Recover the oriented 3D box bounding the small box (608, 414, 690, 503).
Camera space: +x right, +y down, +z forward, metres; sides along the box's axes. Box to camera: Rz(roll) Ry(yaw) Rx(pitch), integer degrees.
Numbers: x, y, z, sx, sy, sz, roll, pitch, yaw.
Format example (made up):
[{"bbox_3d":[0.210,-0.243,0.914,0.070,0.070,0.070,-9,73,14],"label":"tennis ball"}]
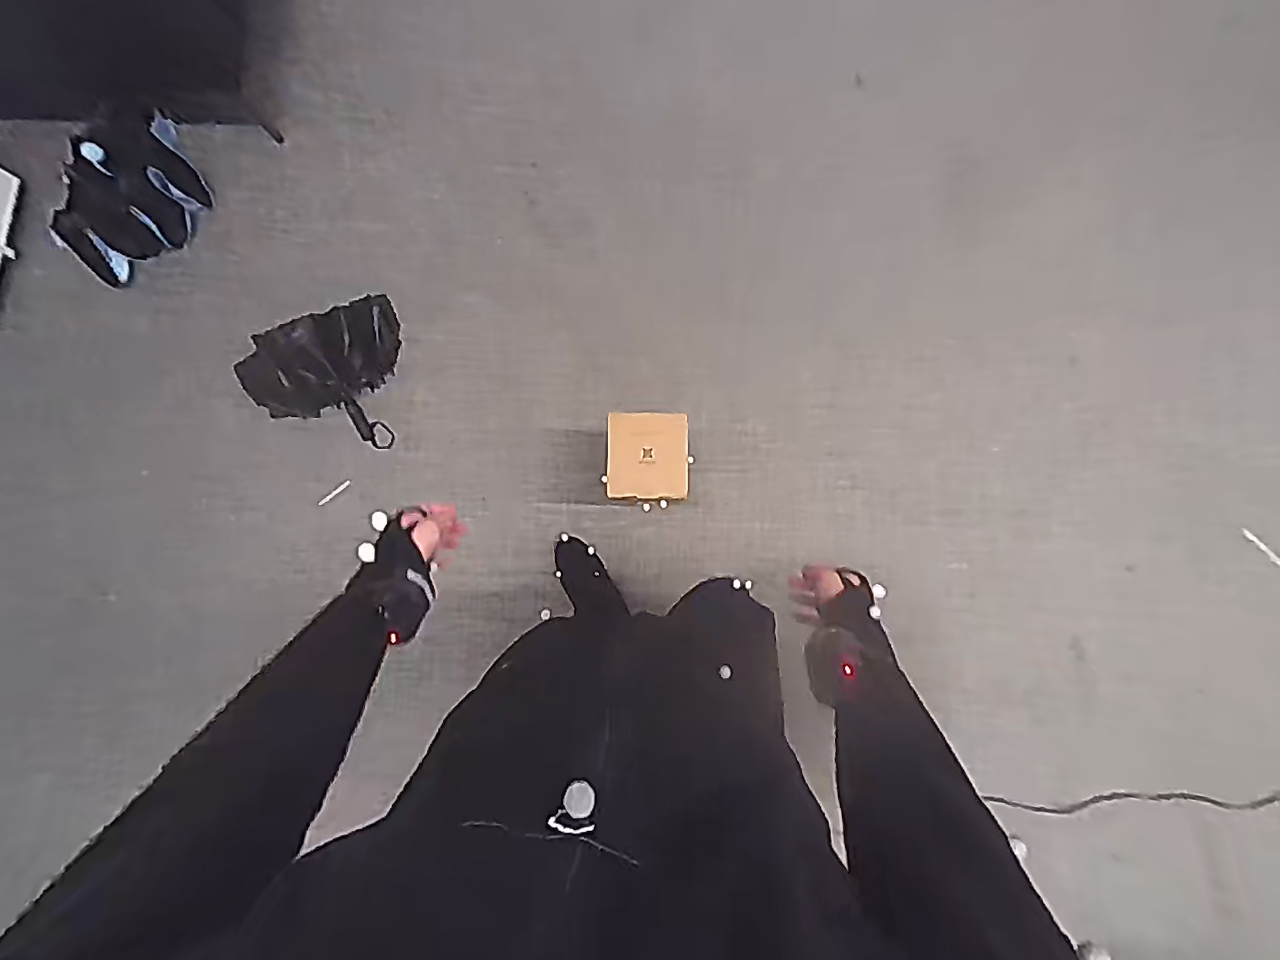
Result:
[{"bbox_3d":[0.019,-0.041,1.169,0.168,0.176,0.179,0,83,0],"label":"small box"}]
